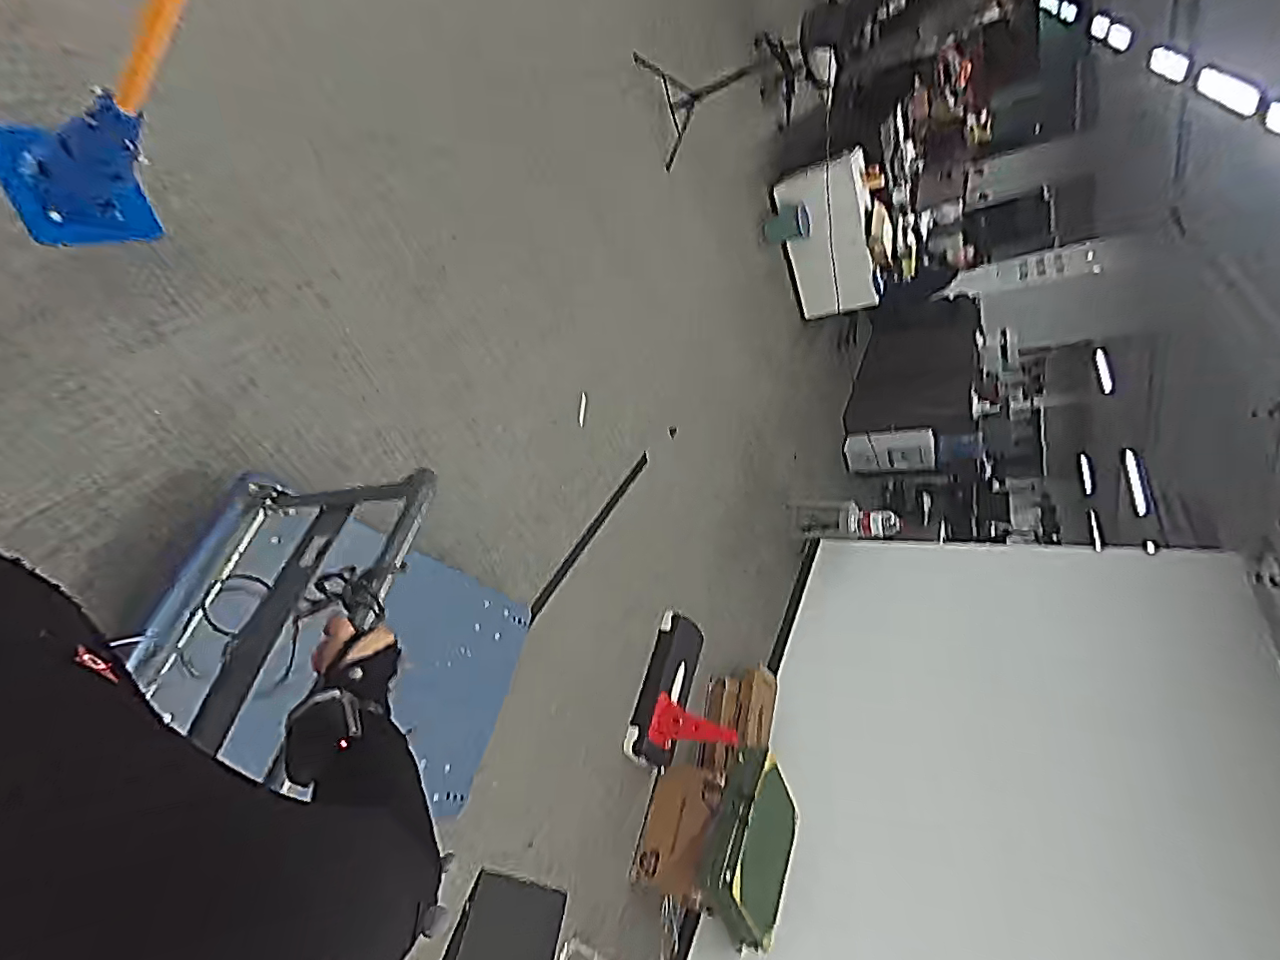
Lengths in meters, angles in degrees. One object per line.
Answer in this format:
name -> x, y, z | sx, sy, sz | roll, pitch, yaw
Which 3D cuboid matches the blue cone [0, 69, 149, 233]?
blue cone -> -0.926, -0.569, 0.910 | 0.193, 0.380, 0.192 | -36, 116, -50
